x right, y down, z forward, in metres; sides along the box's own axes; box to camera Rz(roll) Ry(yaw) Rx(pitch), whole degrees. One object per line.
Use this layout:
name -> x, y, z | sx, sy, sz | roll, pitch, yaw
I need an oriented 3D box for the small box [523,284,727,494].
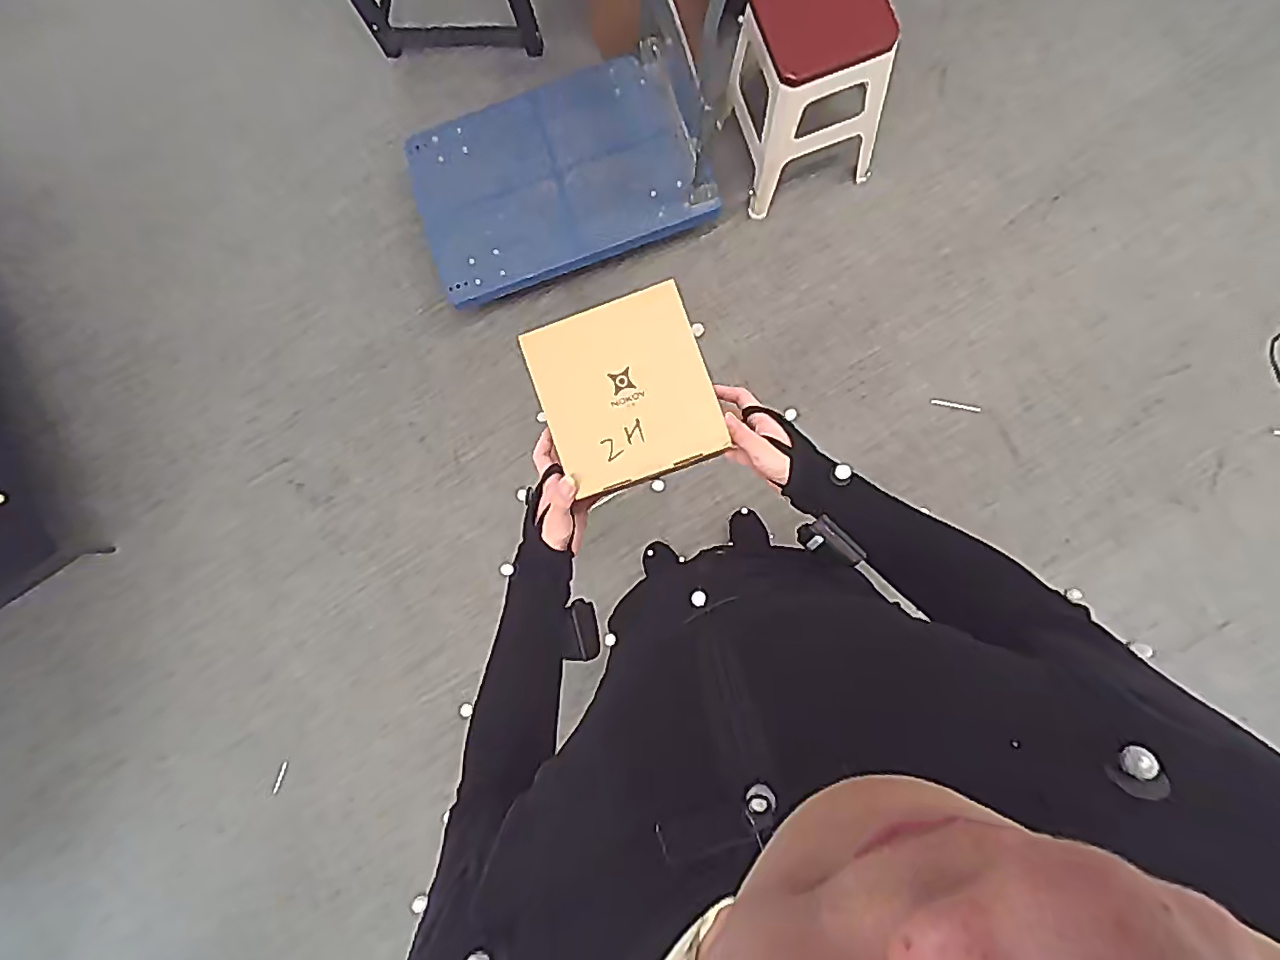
small box -> -0.013, -0.088, 0.617 | 0.168, 0.176, 0.179 | -19, 88, 3
